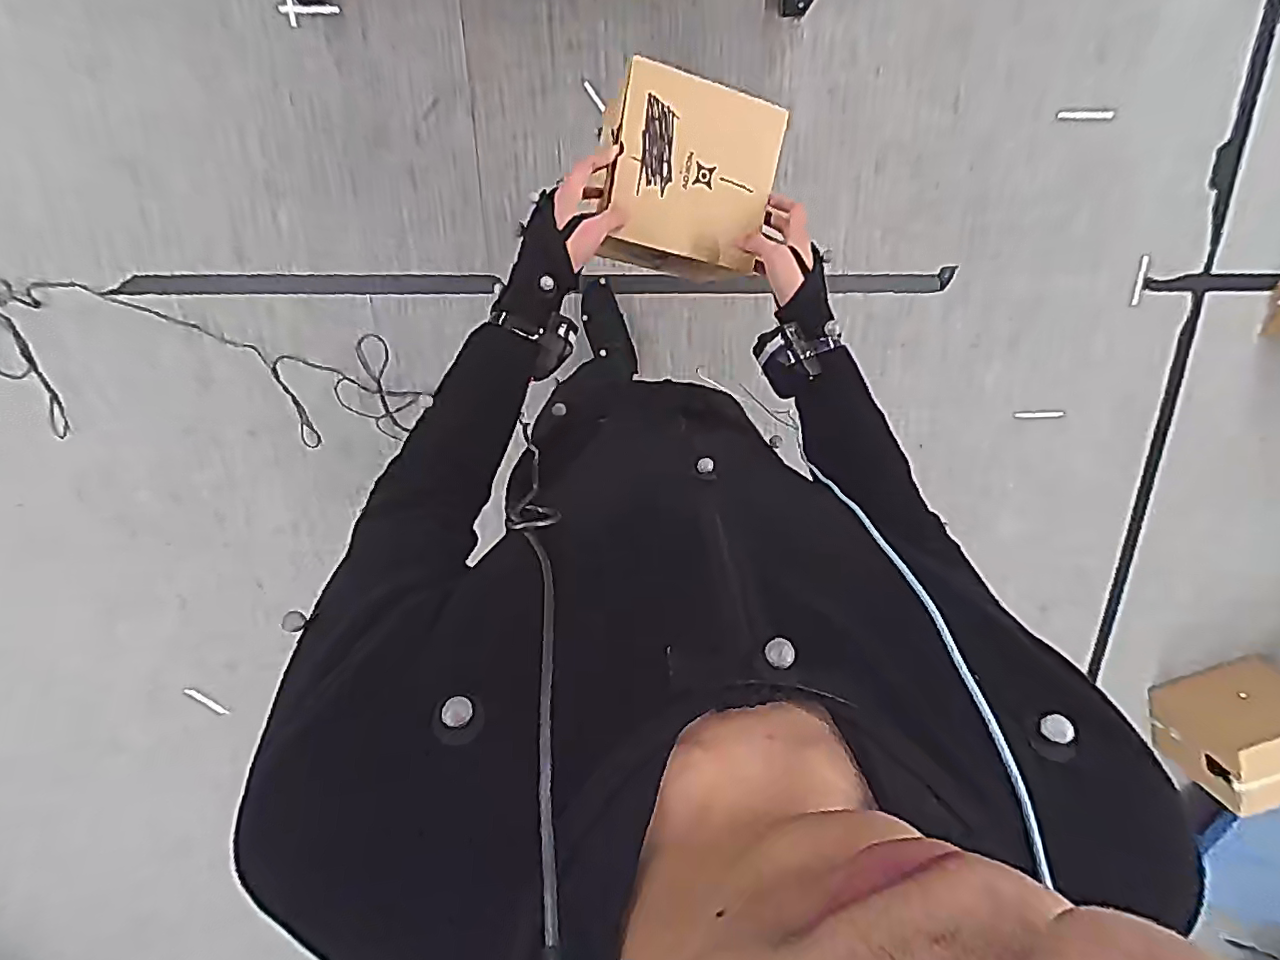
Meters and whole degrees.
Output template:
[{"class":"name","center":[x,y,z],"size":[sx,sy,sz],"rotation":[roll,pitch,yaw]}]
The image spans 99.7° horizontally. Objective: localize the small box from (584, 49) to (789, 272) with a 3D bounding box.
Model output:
[{"class":"small box","center":[0.039,-0.349,0.634],"size":[0.179,0.176,0.168],"rotation":[8,105,-17]}]
